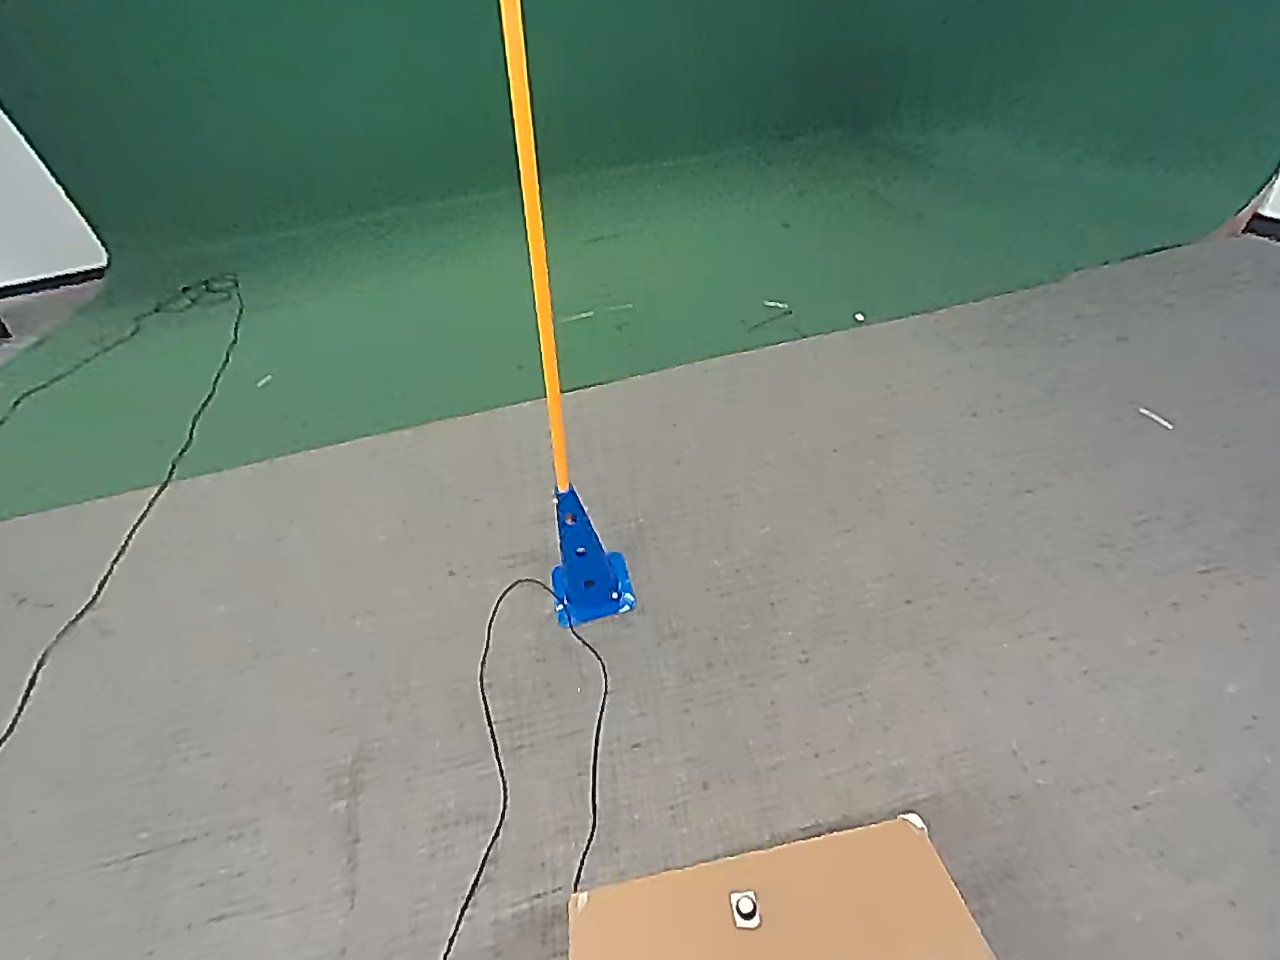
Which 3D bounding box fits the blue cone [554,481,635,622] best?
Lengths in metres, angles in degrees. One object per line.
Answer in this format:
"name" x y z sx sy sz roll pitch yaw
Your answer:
"blue cone" -0.138 0.146 1.283 0.193 0.380 0.192 -14 42 -8
